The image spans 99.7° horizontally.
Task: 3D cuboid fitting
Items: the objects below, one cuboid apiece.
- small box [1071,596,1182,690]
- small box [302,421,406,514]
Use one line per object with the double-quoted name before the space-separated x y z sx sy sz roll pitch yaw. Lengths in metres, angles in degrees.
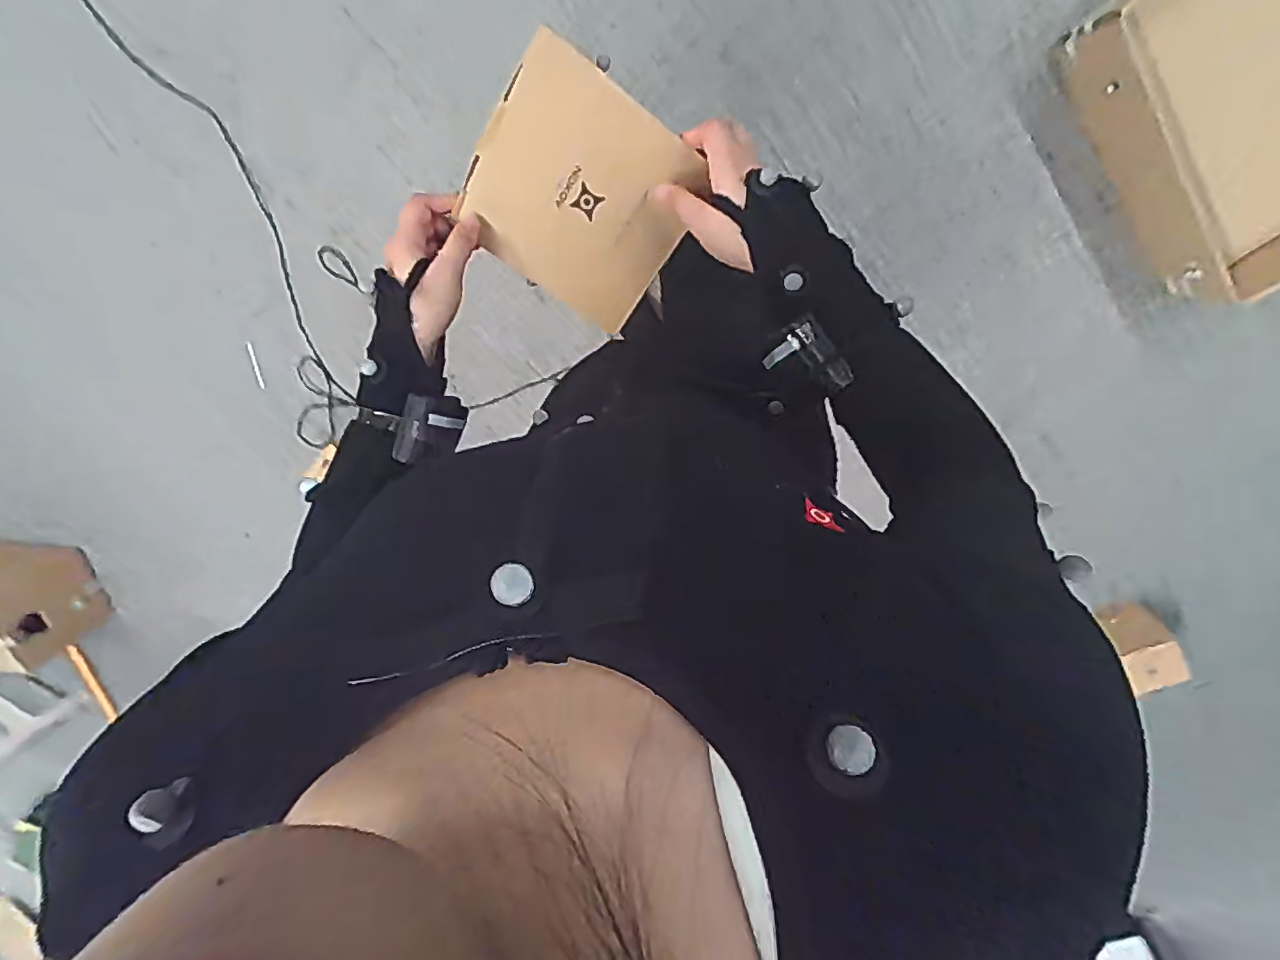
"small box" 1.431 0.478 1.599 0.168 0.176 0.179 -31 111 21
"small box" -0.818 -0.042 1.568 0.168 0.176 0.179 -39 109 23
